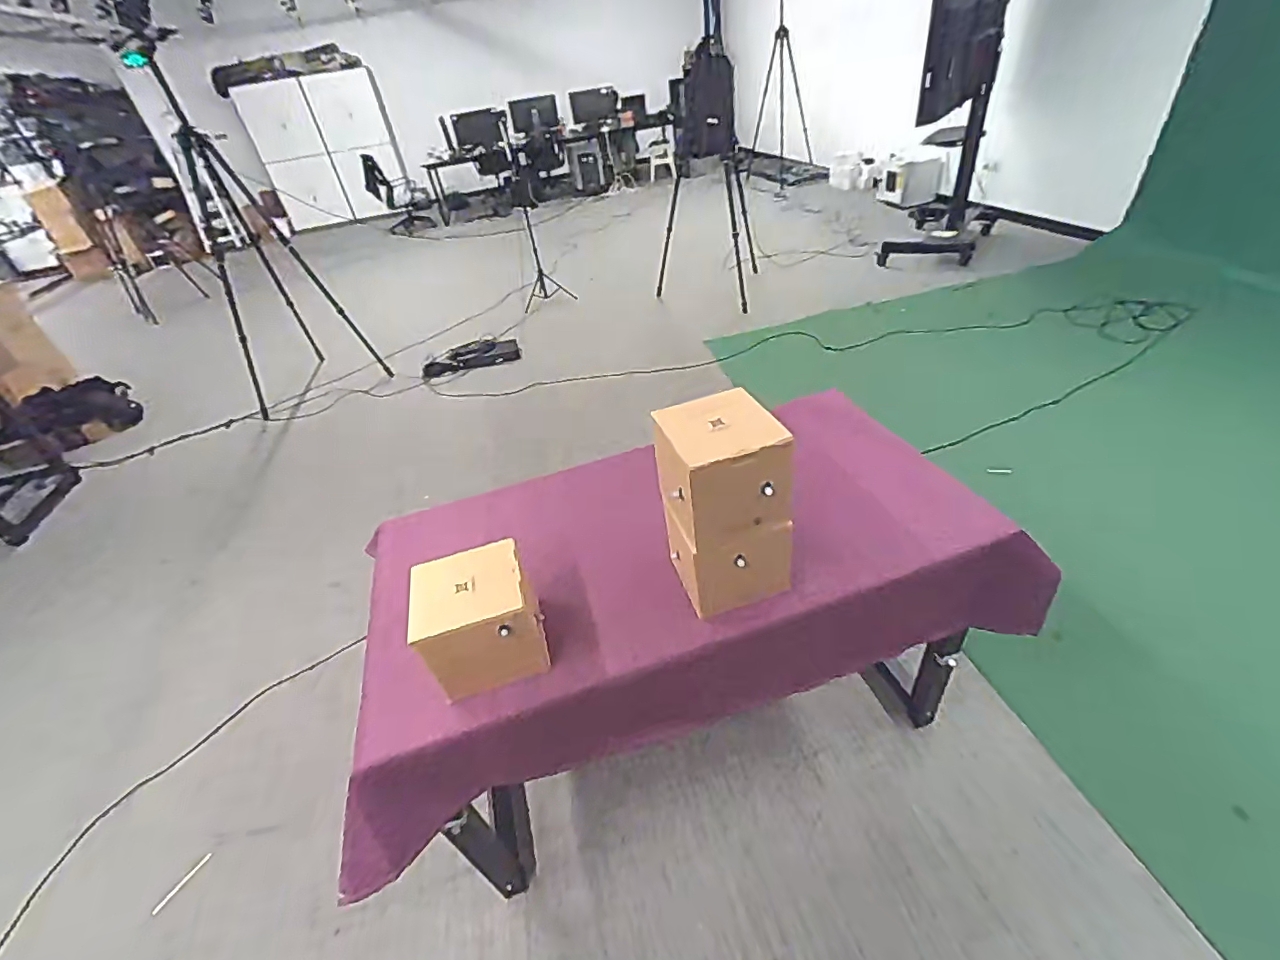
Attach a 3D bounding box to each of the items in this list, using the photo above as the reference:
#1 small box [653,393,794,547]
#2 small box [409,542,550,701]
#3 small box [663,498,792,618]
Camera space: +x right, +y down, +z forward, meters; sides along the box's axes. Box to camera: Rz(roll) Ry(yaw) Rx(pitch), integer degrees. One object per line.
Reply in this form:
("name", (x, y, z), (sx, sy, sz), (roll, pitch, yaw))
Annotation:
("small box", (0.132, -0.012, 0.872), (0.168, 0.176, 0.179), (-16, 37, -9))
("small box", (-0.264, 0.238, 0.906), (0.179, 0.176, 0.168), (-16, 38, -9))
("small box", (0.155, 0.119, 0.967), (0.179, 0.176, 0.168), (-15, 38, -7))
